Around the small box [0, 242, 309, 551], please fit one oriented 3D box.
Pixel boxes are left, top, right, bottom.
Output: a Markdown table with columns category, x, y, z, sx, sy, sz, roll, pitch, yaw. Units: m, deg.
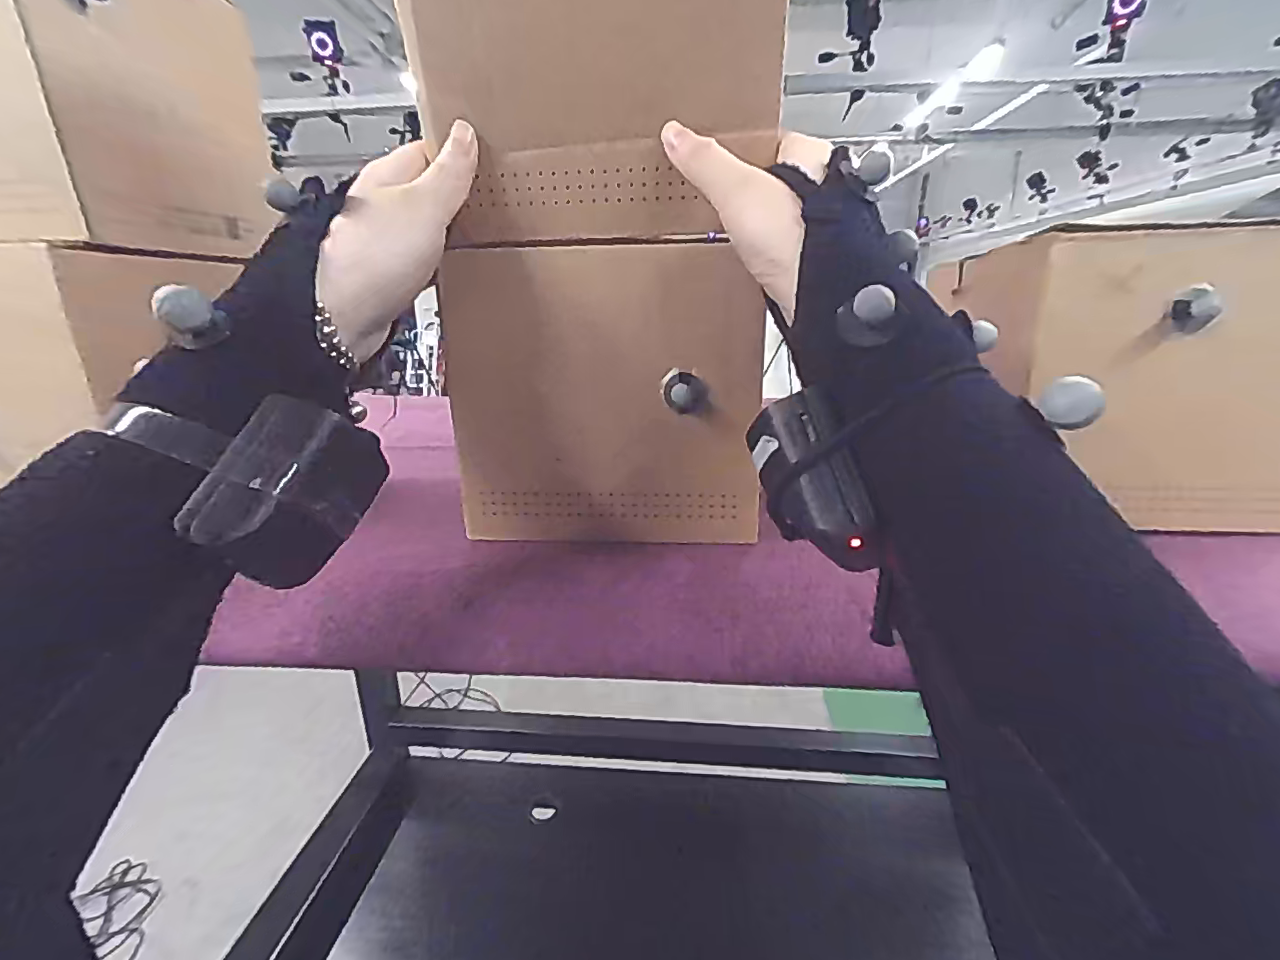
| category | x | y | z | sx | sy | sz | roll | pitch | yaw |
| --- | --- | --- | --- | --- | --- | --- | --- | --- | --- |
| small box | -0.360 | -0.061 | 0.365 | 0.168 | 0.176 | 0.179 | 1 | 19 | 2 |

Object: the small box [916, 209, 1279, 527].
| category | x | y | z | sx | sy | sz | roll | pitch | yaw |
| --- | --- | --- | --- | --- | --- | --- | --- | --- | --- |
| small box | 0.305 | -0.073 | 0.367 | 0.179 | 0.176 | 0.168 | 1 | 16 | 6 |

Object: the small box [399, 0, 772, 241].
| category | x | y | z | sx | sy | sz | roll | pitch | yaw |
| --- | --- | --- | --- | --- | --- | --- | --- | --- | --- |
| small box | -0.023 | -0.232 | 0.306 | 0.179 | 0.176 | 0.168 | -1 | 30 | 3 |

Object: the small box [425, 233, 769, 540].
| category | x | y | z | sx | sy | sz | roll | pitch | yaw |
| --- | --- | --- | --- | --- | --- | --- | --- | --- | --- |
| small box | -0.017 | -0.065 | 0.368 | 0.179 | 0.176 | 0.168 | -1 | 17 | 3 |
